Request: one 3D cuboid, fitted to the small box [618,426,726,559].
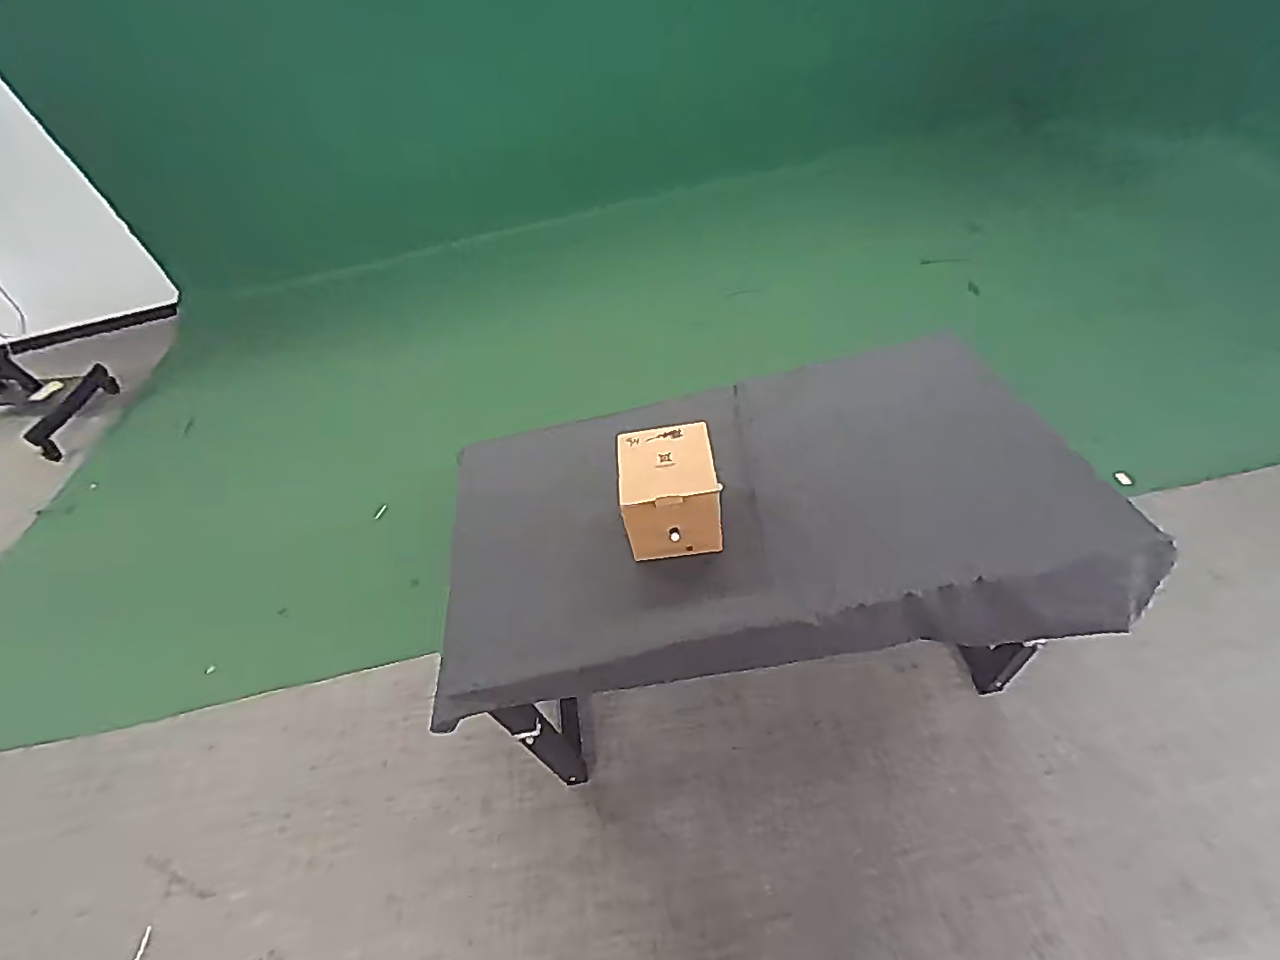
[{"bbox_3d":[0.061,0.031,1.001,0.168,0.176,0.179,-11,47,4],"label":"small box"}]
